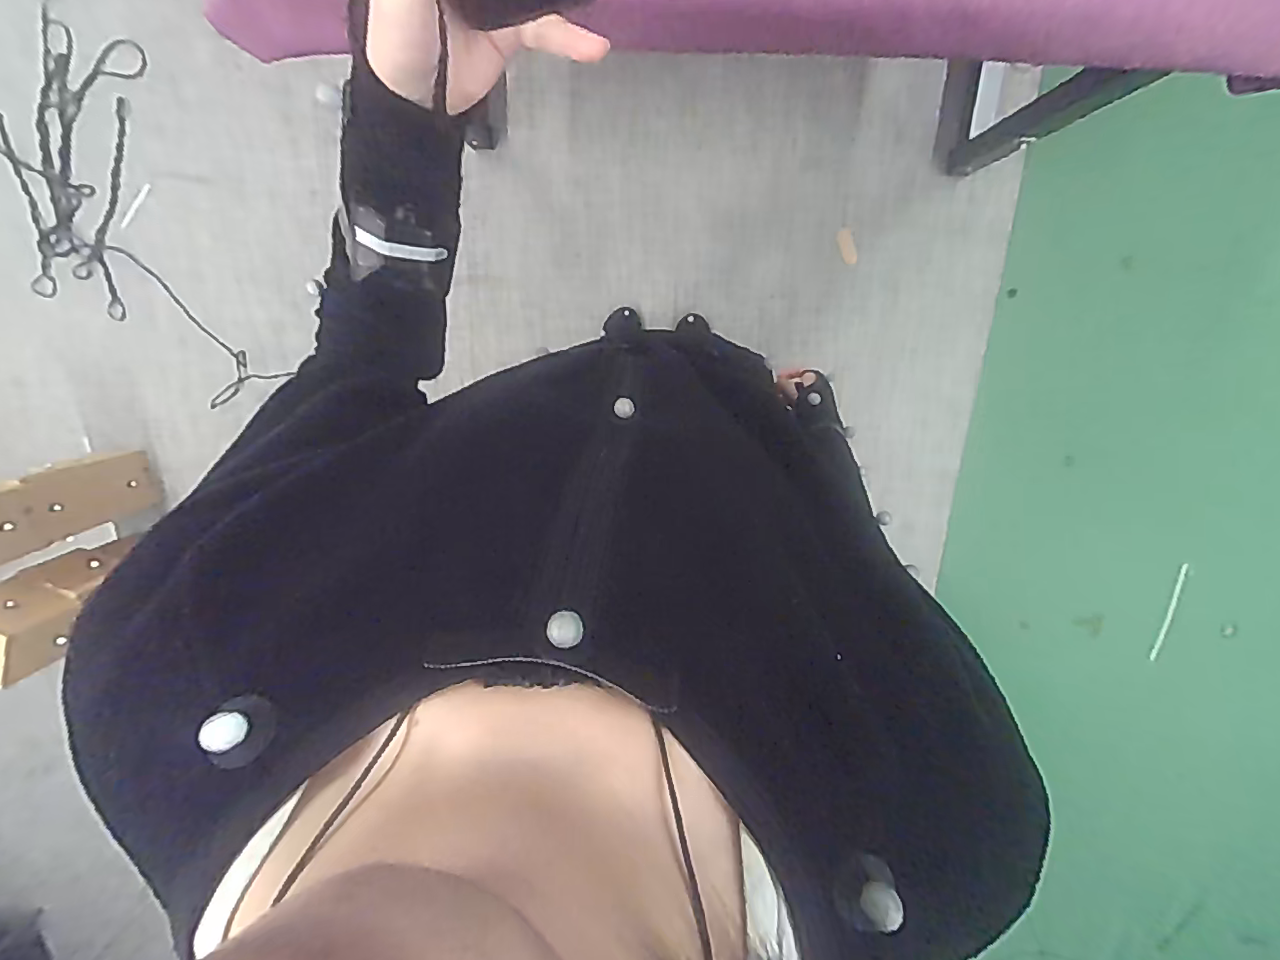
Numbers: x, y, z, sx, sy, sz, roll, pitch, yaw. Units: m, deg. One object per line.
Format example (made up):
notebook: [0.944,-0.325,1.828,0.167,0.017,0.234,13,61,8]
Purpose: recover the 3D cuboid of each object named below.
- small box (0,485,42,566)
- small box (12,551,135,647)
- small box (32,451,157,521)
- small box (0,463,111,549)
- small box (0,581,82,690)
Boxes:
small box: [-1.539,0.113,1.232,0.179,0.176,0.168,-1,107,2]
small box: [-1.528,0.321,1.465,0.168,0.176,0.179,20,106,-1]
small box: [-1.539,0.017,1.544,0.179,0.176,0.168,-4,106,5]
small box: [-1.536,0.070,1.390,0.168,0.176,0.179,-9,106,5]
small box: [-1.530,0.369,1.308,0.179,0.176,0.168,24,106,-4]
